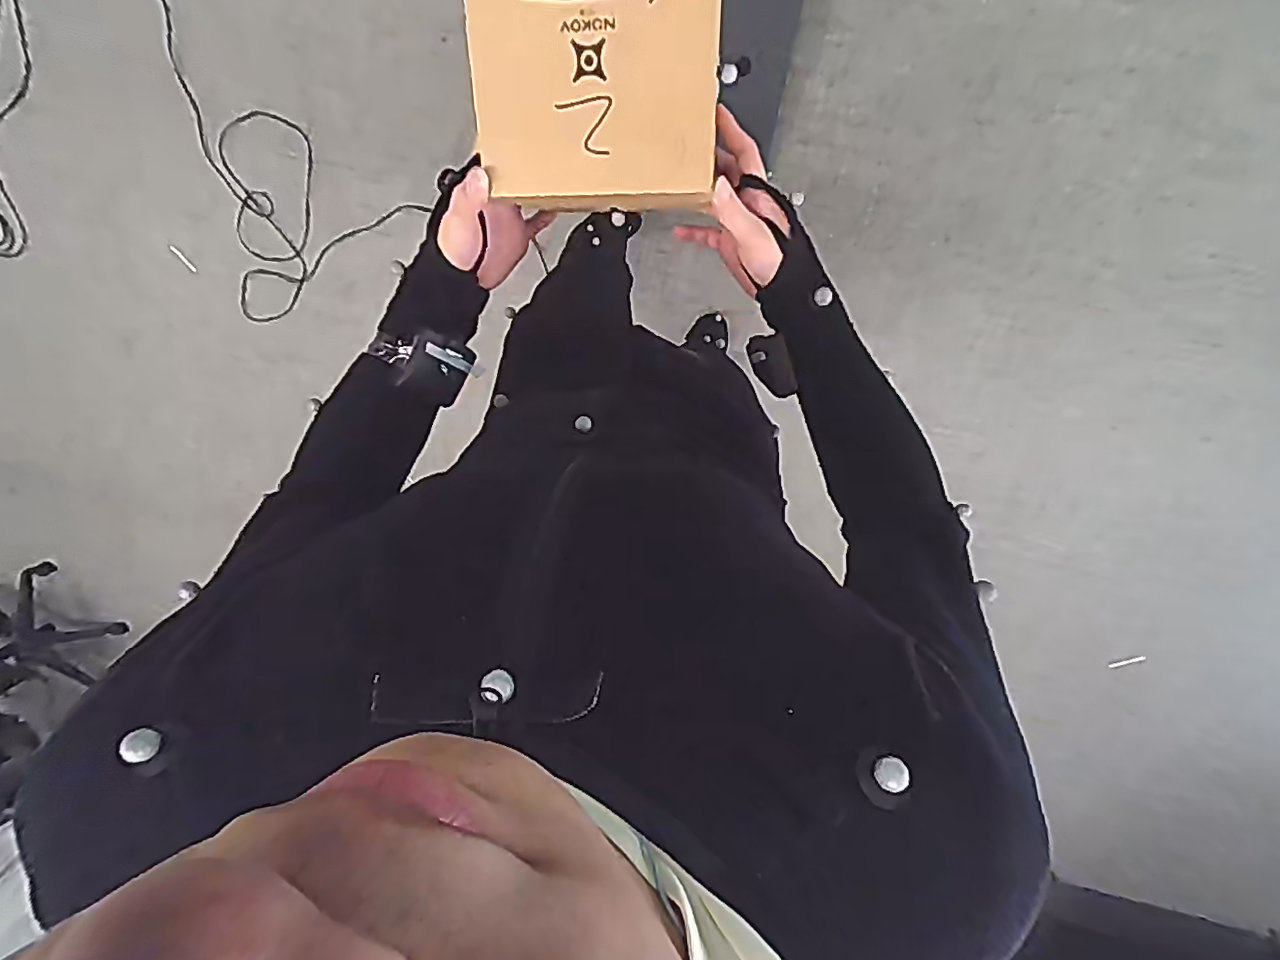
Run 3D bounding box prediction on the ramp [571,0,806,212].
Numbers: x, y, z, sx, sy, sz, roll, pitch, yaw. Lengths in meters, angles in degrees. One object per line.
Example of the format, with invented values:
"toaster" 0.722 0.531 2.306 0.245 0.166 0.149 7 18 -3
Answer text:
"ramp" 0.119 -1.121 1.093 0.509 0.206 0.991 10 114 4
